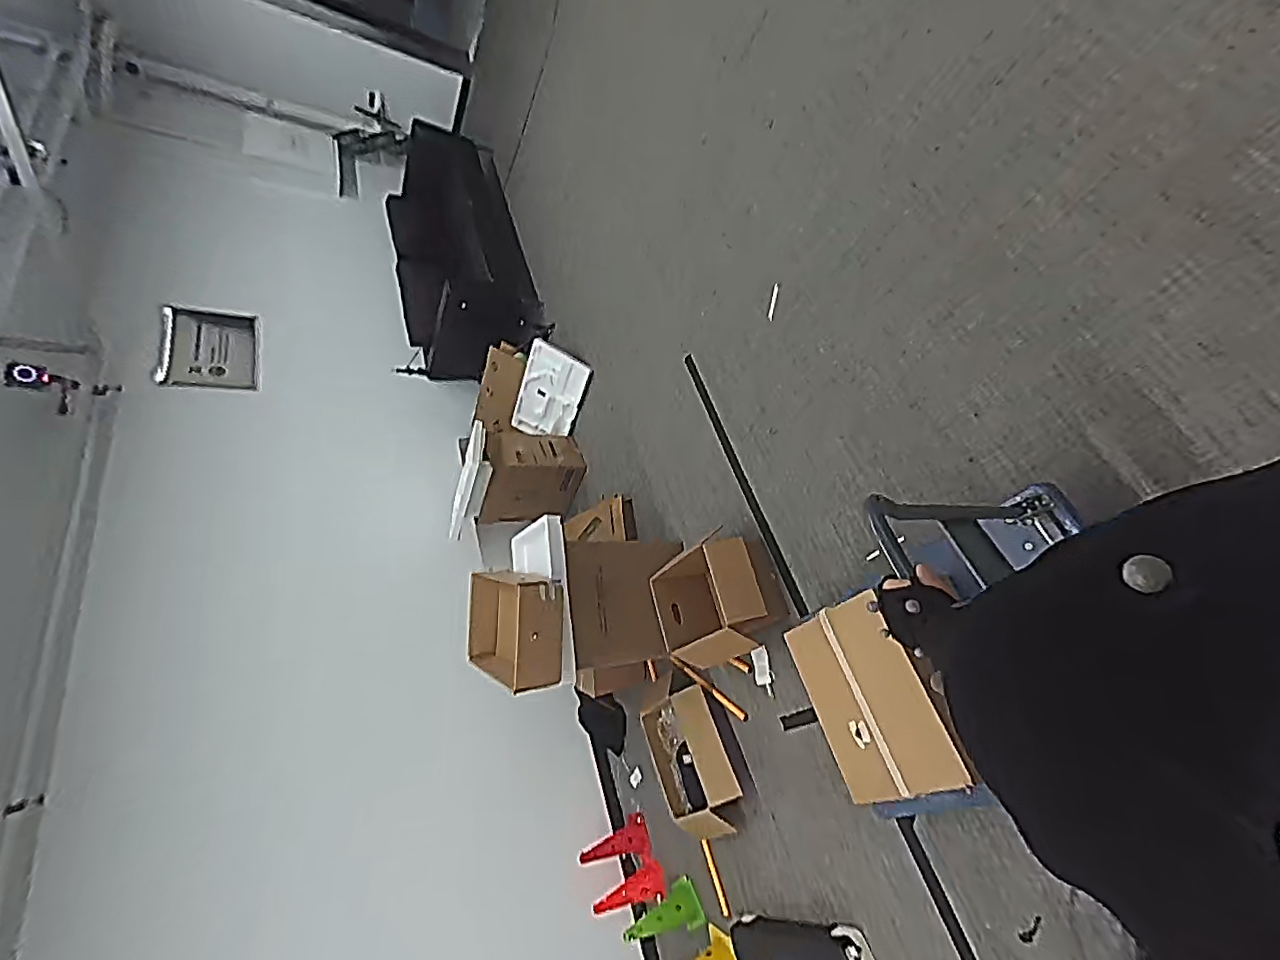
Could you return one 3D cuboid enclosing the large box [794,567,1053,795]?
[{"bbox_3d":[0.649,0.463,1.284,0.320,0.320,0.408,-52,49,46],"label":"large box"}]
